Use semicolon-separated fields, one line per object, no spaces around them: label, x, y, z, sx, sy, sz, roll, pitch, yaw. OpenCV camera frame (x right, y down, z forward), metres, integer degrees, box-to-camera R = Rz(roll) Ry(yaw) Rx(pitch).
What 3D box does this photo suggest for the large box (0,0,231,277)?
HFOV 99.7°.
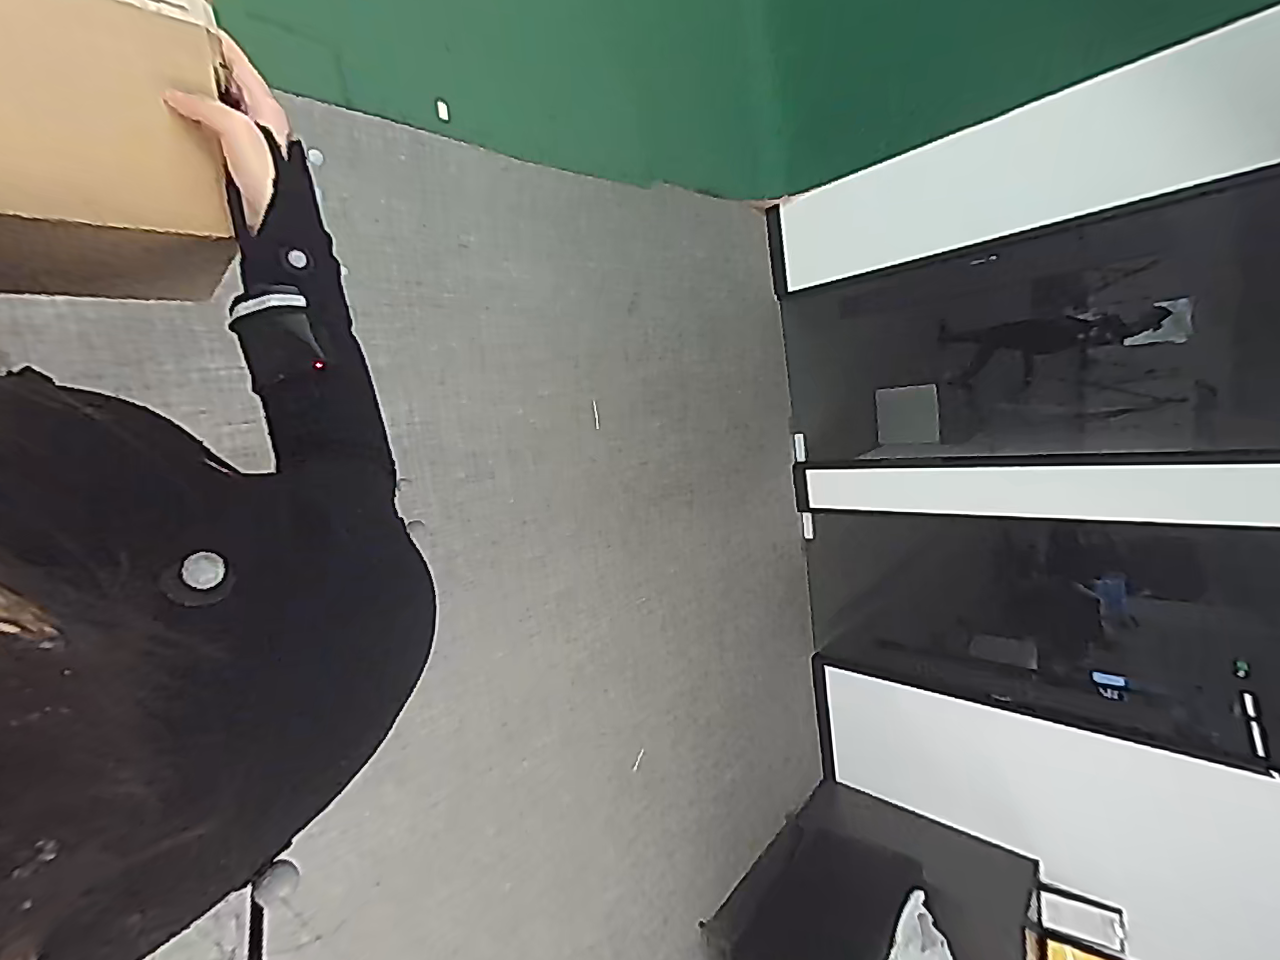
large box;-0.579;-0.335;0.384;0.408;0.320;0.320;-13;104;-40
